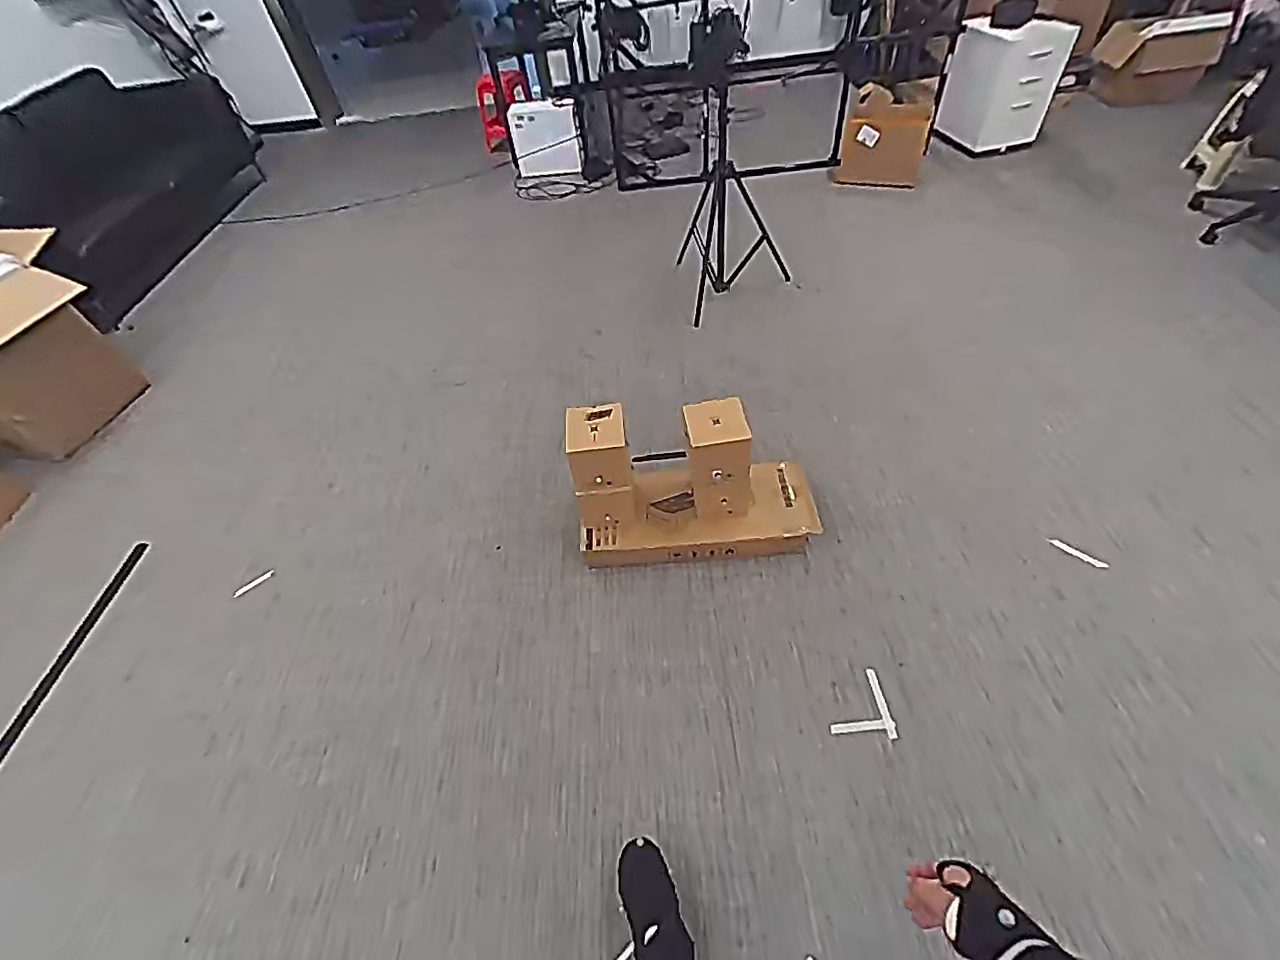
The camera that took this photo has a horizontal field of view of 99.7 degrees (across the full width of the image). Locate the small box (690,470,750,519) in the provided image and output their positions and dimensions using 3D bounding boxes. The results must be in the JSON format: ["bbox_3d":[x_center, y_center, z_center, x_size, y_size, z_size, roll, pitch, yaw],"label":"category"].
[{"bbox_3d":[0.247,0.008,1.681,0.168,0.176,0.179,-7,49,3],"label":"small box"}]

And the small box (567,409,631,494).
[{"bbox_3d":[-0.118,-0.082,1.581,0.168,0.176,0.179,-6,49,1],"label":"small box"}]

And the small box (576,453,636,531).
[{"bbox_3d":[-0.102,0.037,1.693,0.168,0.176,0.179,-5,49,2],"label":"small box"}]

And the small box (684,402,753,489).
[{"bbox_3d":[0.221,-0.098,1.559,0.168,0.176,0.179,-9,49,0],"label":"small box"}]
